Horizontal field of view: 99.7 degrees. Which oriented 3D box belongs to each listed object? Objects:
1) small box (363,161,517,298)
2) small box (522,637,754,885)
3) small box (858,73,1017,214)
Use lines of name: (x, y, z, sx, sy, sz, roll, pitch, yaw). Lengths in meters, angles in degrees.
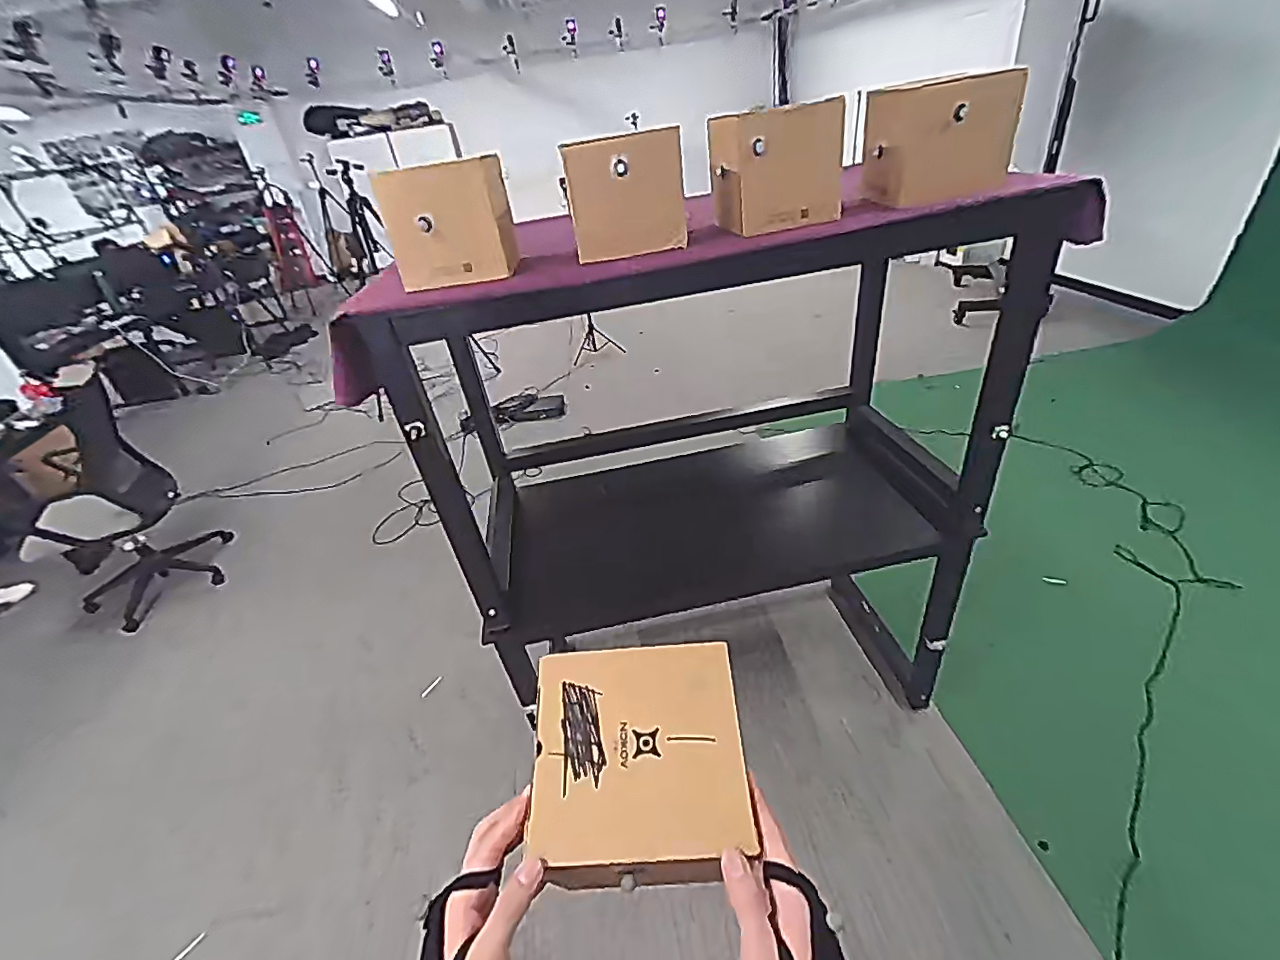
small box: (-0.304, -0.400, 0.869, 0.168, 0.176, 0.179, -9, 32, 0)
small box: (0.003, 0.267, 0.507, 0.179, 0.176, 0.168, -5, 48, 2)
small box: (0.480, -0.558, 0.906, 0.179, 0.176, 0.168, -10, 34, 1)
